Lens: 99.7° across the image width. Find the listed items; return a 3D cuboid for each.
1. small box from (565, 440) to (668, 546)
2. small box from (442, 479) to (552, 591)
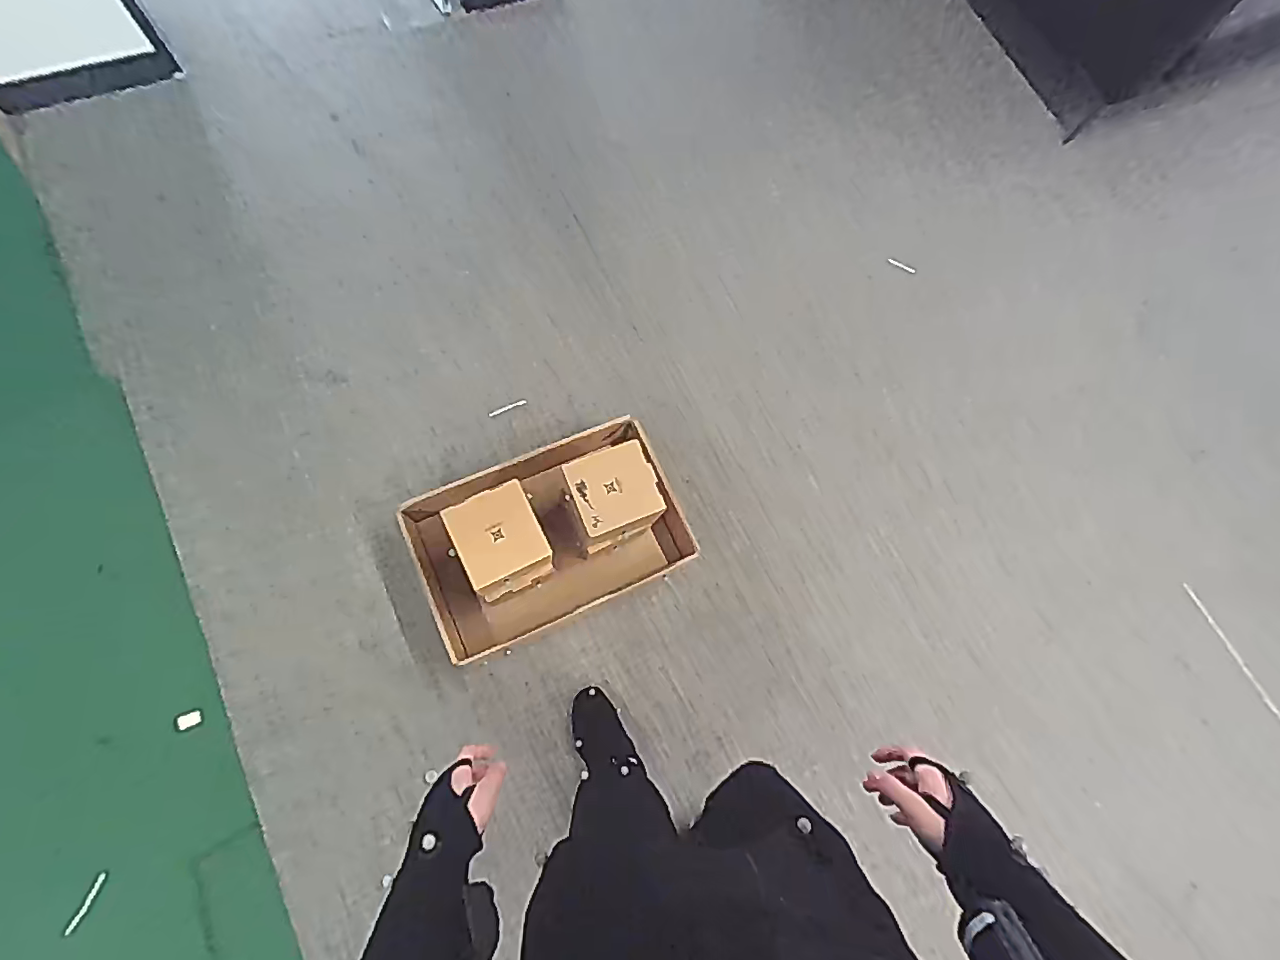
[{"bbox_3d":[-0.060,0.034,1.200,0.179,0.176,0.168,-20,79,-12],"label":"small box"},{"bbox_3d":[-0.294,0.125,1.148,0.168,0.176,0.179,-25,79,-15],"label":"small box"}]
